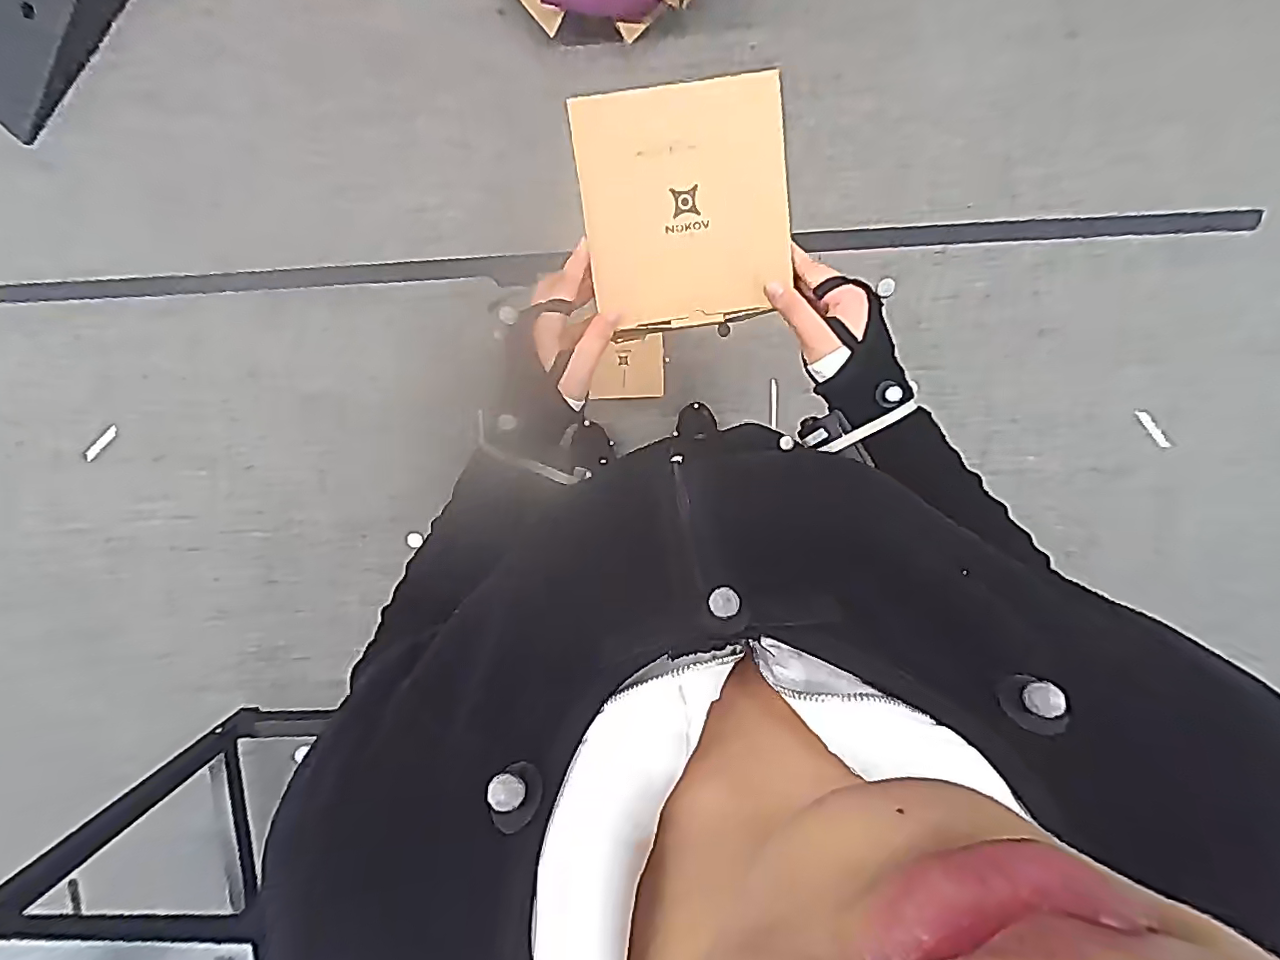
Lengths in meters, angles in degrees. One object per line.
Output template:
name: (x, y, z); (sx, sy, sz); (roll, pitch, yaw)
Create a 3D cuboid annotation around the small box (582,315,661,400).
small box: (-0.038, -0.269, 1.212); (0.168, 0.176, 0.179); (-1, 100, 1)

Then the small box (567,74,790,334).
small box: (0.031, -0.235, 0.509); (0.168, 0.176, 0.179); (-8, 102, -2)
